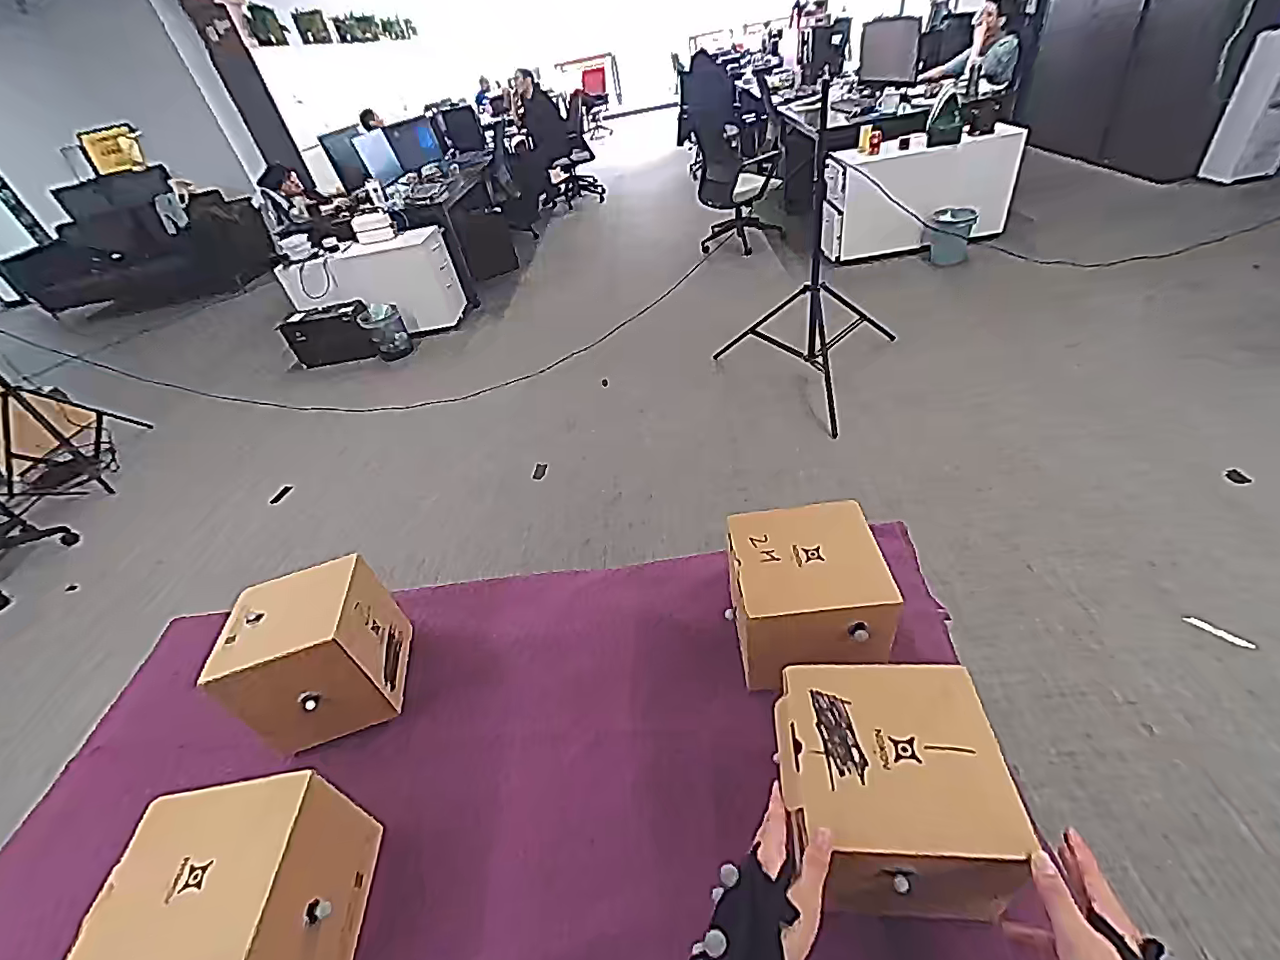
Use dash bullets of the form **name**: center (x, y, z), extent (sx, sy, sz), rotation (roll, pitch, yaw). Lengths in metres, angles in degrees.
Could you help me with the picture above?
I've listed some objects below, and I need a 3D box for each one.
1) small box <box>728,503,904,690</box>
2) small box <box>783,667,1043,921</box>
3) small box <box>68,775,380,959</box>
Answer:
- **small box**: center (0.215, 0.154, 0.707), extent (0.179, 0.176, 0.168), rotation (-8, 40, 5)
- **small box**: center (0.238, 0.301, 0.525), extent (0.179, 0.176, 0.168), rotation (-4, 39, 10)
- **small box**: center (-0.396, 0.428, 0.544), extent (0.179, 0.176, 0.168), rotation (-12, 39, 1)
